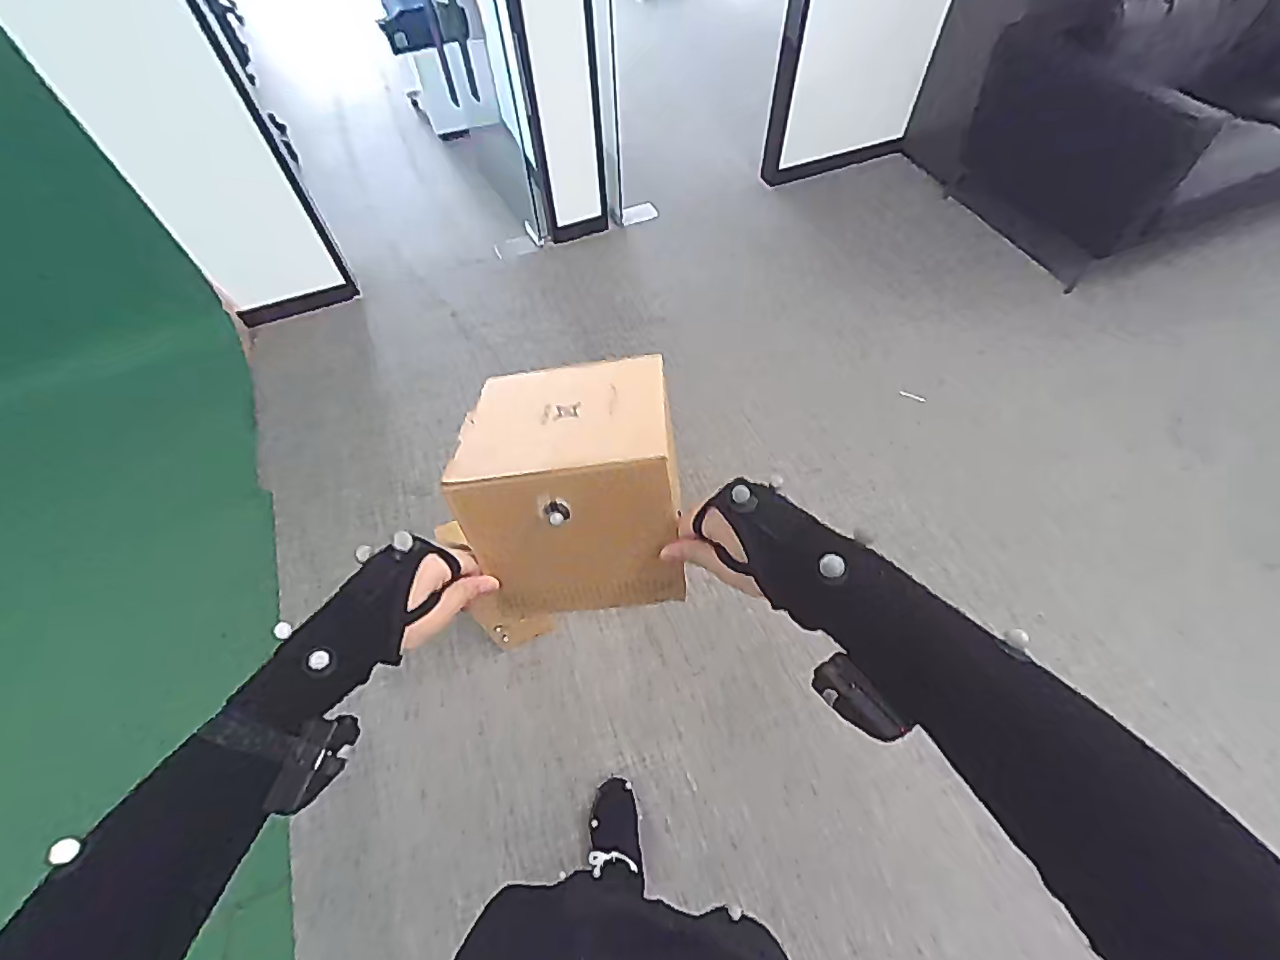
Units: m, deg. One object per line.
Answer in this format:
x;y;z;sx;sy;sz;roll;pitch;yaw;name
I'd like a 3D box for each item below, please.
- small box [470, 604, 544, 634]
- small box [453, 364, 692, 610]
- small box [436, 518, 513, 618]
-0.363;0.286;1.419;0.168;0.176;0.179;-21;57;-13;small box
-0.048;0.008;0.520;0.179;0.176;0.168;-6;37;5;small box
-0.356;0.201;1.278;0.179;0.176;0.168;-20;59;-12;small box
